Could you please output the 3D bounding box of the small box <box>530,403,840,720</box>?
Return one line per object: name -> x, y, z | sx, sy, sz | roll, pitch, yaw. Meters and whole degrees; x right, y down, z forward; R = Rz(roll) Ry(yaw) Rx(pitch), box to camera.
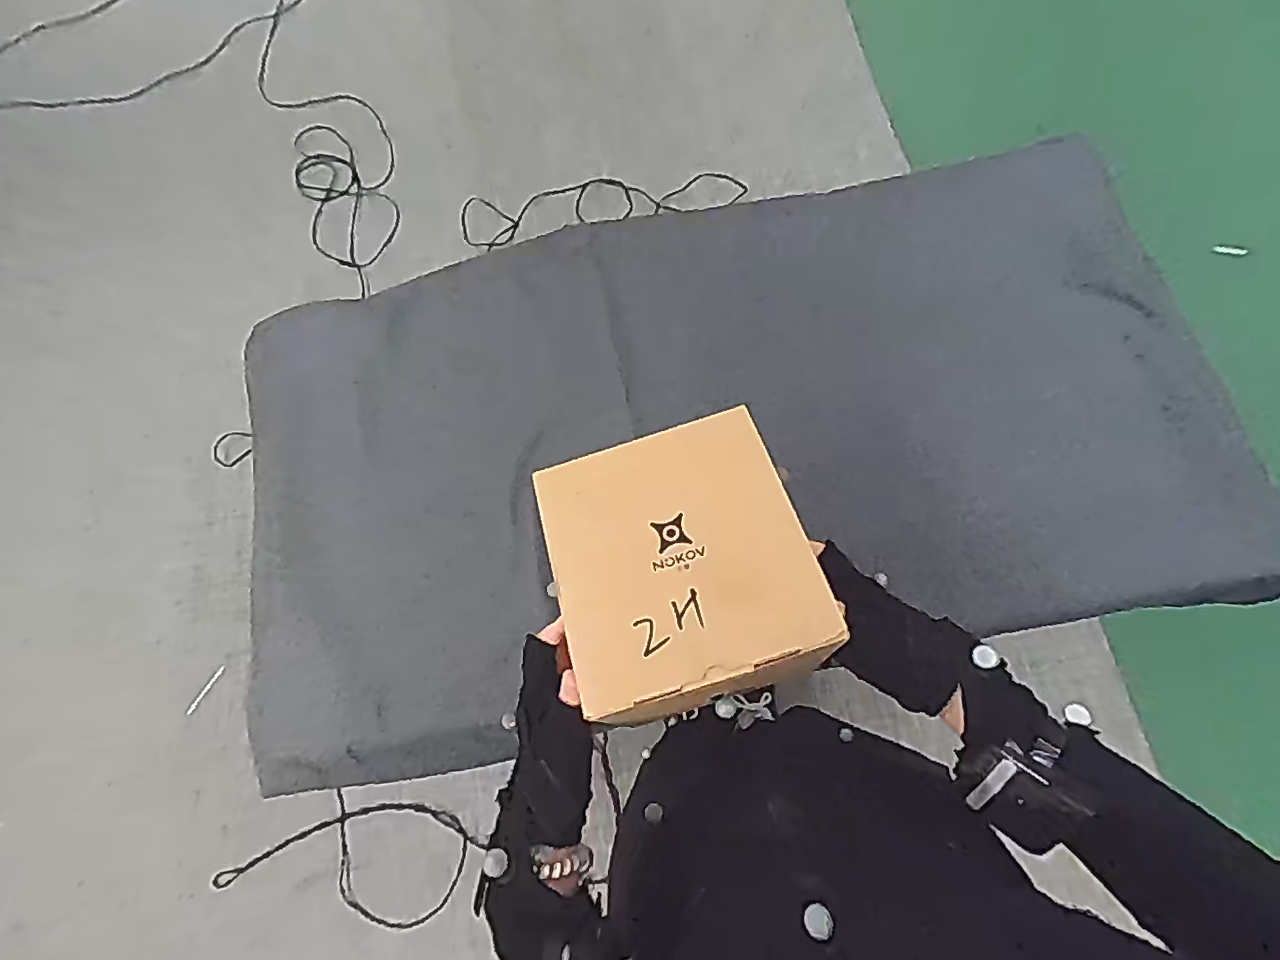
small box -> 0.030, 0.075, 0.425 | 0.168, 0.176, 0.179 | -19, 63, 1
